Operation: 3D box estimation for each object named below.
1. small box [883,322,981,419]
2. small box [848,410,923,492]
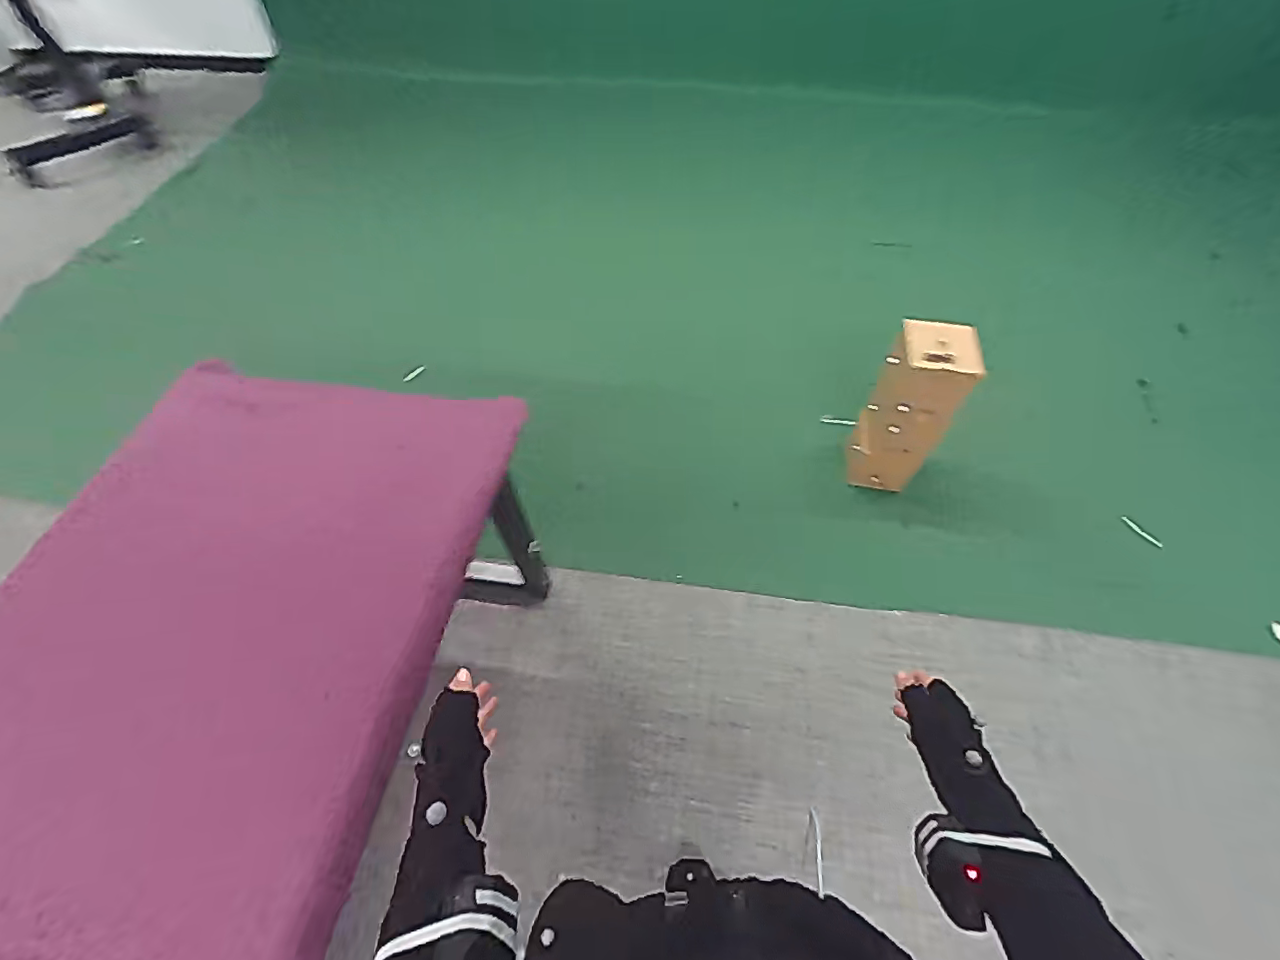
[{"bbox_3d":[0.746,-0.280,1.401,0.168,0.176,0.179,8,56,6],"label":"small box"},{"bbox_3d":[0.748,-0.087,1.668,0.168,0.176,0.179,9,58,7],"label":"small box"}]
